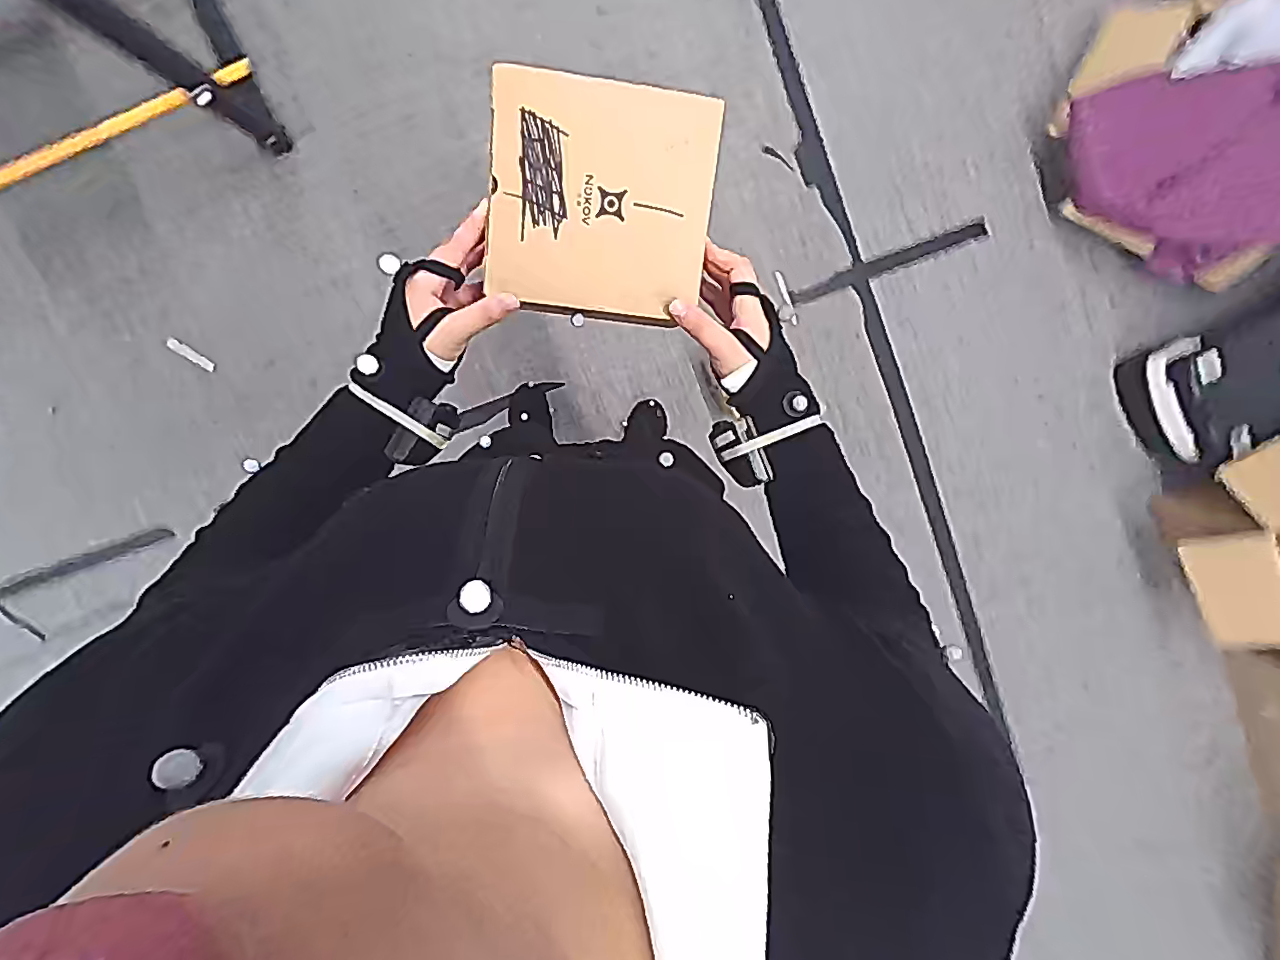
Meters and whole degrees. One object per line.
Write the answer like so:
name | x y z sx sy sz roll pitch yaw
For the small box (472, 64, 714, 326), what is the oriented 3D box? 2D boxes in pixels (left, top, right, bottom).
small box | -0.043 -0.234 0.491 0.179 0.176 0.168 4 104 -5

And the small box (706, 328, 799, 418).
small box | 0.273 -0.264 1.361 0.179 0.176 0.168 -22 98 5
